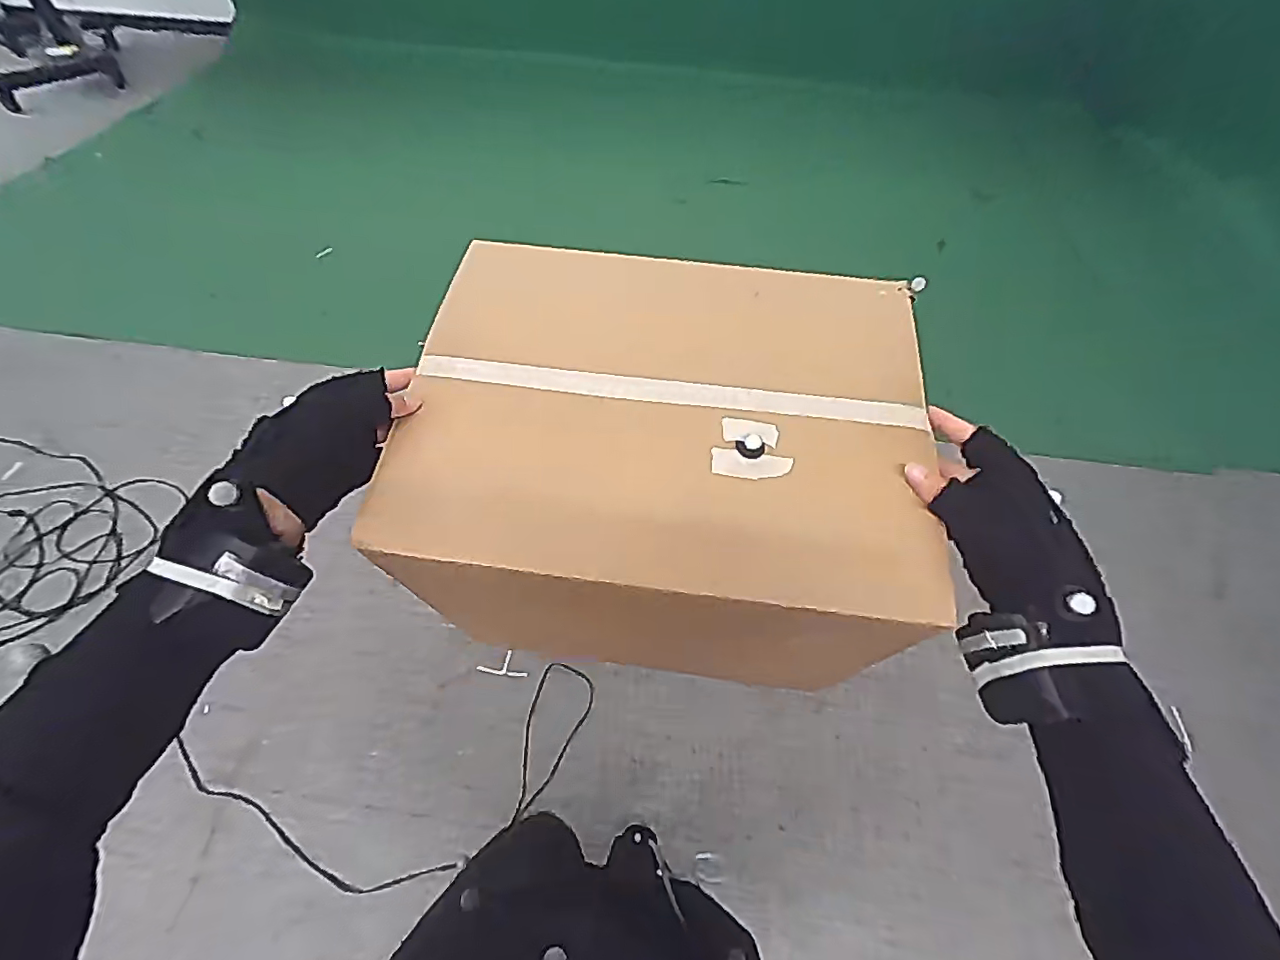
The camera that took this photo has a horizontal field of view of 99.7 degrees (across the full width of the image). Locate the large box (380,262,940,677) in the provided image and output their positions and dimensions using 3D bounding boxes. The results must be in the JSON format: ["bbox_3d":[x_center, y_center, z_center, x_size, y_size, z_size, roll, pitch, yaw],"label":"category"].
[{"bbox_3d":[0.023,0.008,0.576,0.408,0.320,0.320,6,63,3],"label":"large box"}]
